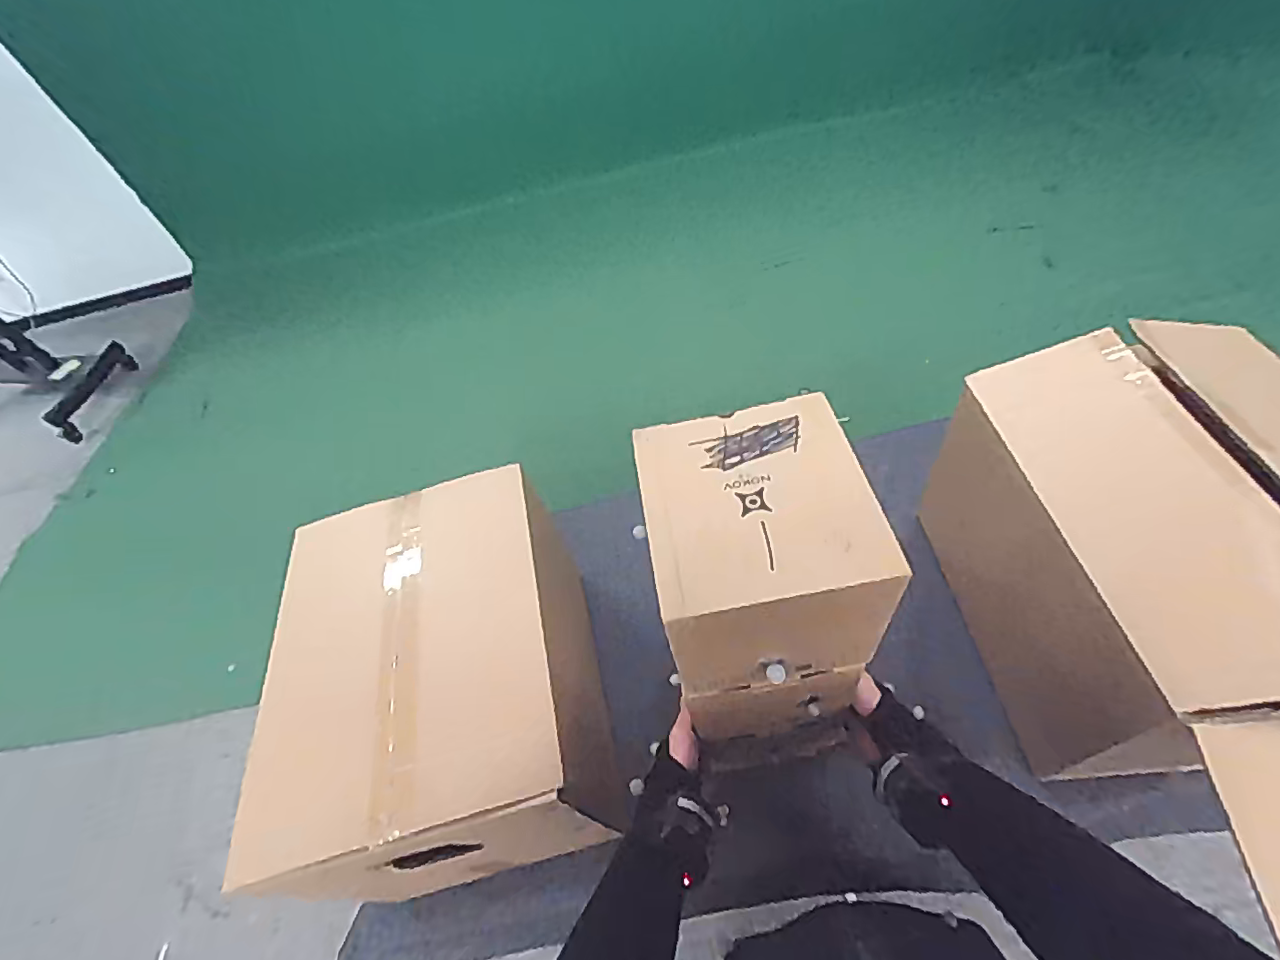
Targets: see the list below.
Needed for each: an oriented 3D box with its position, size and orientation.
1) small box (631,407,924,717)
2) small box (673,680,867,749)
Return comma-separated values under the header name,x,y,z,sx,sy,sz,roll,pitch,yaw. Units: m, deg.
name,x,y,z,sx,sy,sz,roll,pitch,yaw
small box,0.093,0.072,0.440,0.168,0.176,0.179,-12,54,3
small box,0.116,0.170,0.570,0.168,0.176,0.179,-12,51,2
